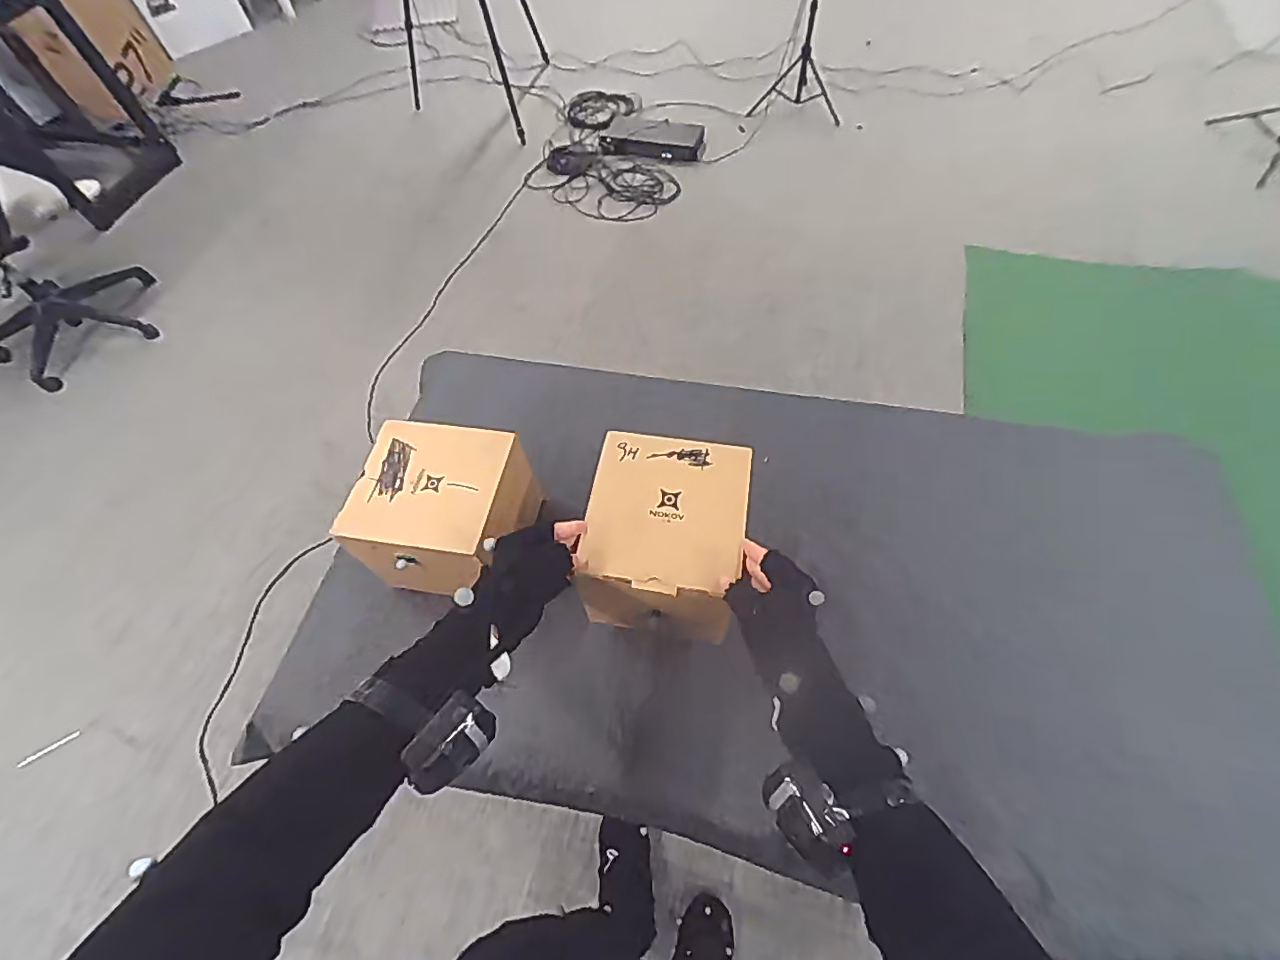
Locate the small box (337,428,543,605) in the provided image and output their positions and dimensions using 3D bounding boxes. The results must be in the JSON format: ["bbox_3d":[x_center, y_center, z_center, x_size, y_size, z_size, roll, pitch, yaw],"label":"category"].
[{"bbox_3d":[-0.243,0.053,0.708,0.179,0.176,0.168,7,60,7],"label":"small box"}]

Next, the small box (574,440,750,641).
[{"bbox_3d":[0.032,0.077,0.638,0.168,0.176,0.179,7,60,7],"label":"small box"}]
